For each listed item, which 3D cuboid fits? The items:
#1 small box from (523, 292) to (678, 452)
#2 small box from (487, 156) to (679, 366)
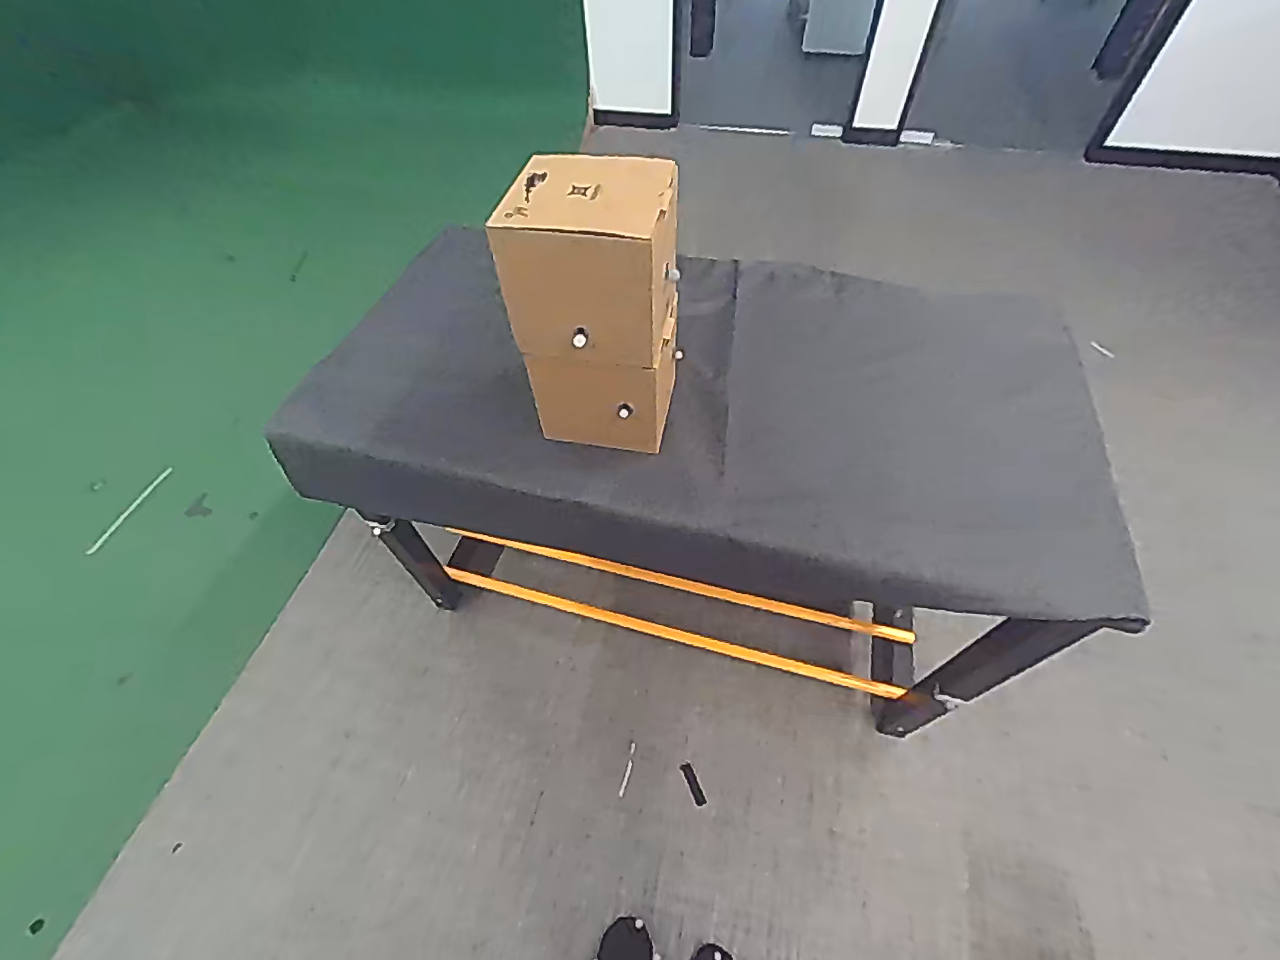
[{"bbox_3d":[-0.045,-0.159,0.781,0.179,0.176,0.168,8,53,8],"label":"small box"},{"bbox_3d":[-0.055,-0.257,0.649,0.179,0.176,0.168,9,54,8],"label":"small box"}]
